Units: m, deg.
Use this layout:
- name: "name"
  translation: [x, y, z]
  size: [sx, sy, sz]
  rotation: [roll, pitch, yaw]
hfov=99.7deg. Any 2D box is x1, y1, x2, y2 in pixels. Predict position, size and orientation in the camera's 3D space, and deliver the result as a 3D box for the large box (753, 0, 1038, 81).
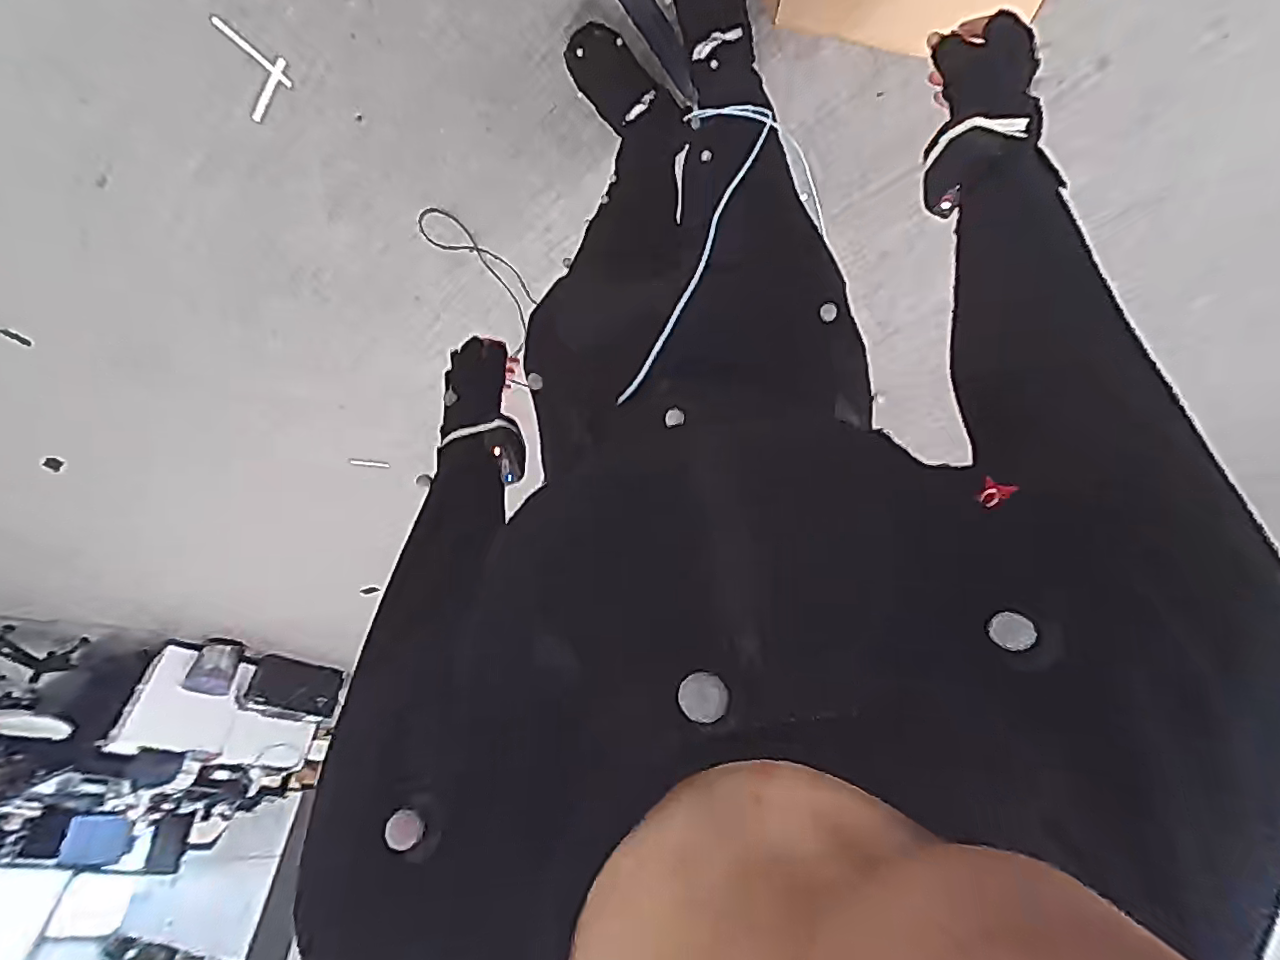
- name: "large box"
  translation: [0.341, -0.778, 0.698]
  size: [0.320, 0.408, 0.320]
  rotation: [8, 141, -7]
